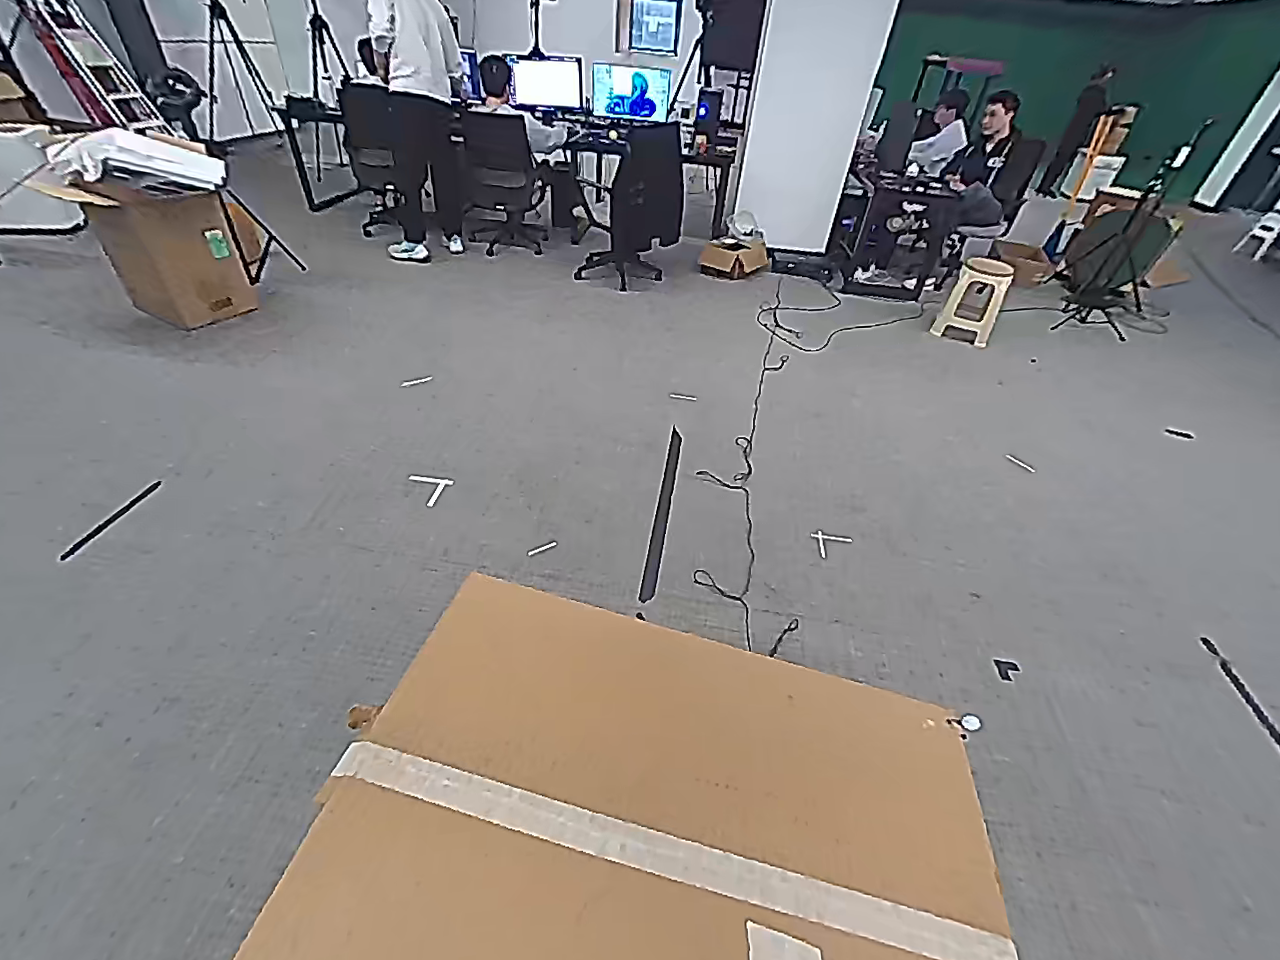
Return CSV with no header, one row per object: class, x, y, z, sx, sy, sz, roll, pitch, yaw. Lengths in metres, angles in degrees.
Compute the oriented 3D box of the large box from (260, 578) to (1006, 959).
large box,-0.003,0.336,0.427,0.408,0.320,0.320,16,41,3
